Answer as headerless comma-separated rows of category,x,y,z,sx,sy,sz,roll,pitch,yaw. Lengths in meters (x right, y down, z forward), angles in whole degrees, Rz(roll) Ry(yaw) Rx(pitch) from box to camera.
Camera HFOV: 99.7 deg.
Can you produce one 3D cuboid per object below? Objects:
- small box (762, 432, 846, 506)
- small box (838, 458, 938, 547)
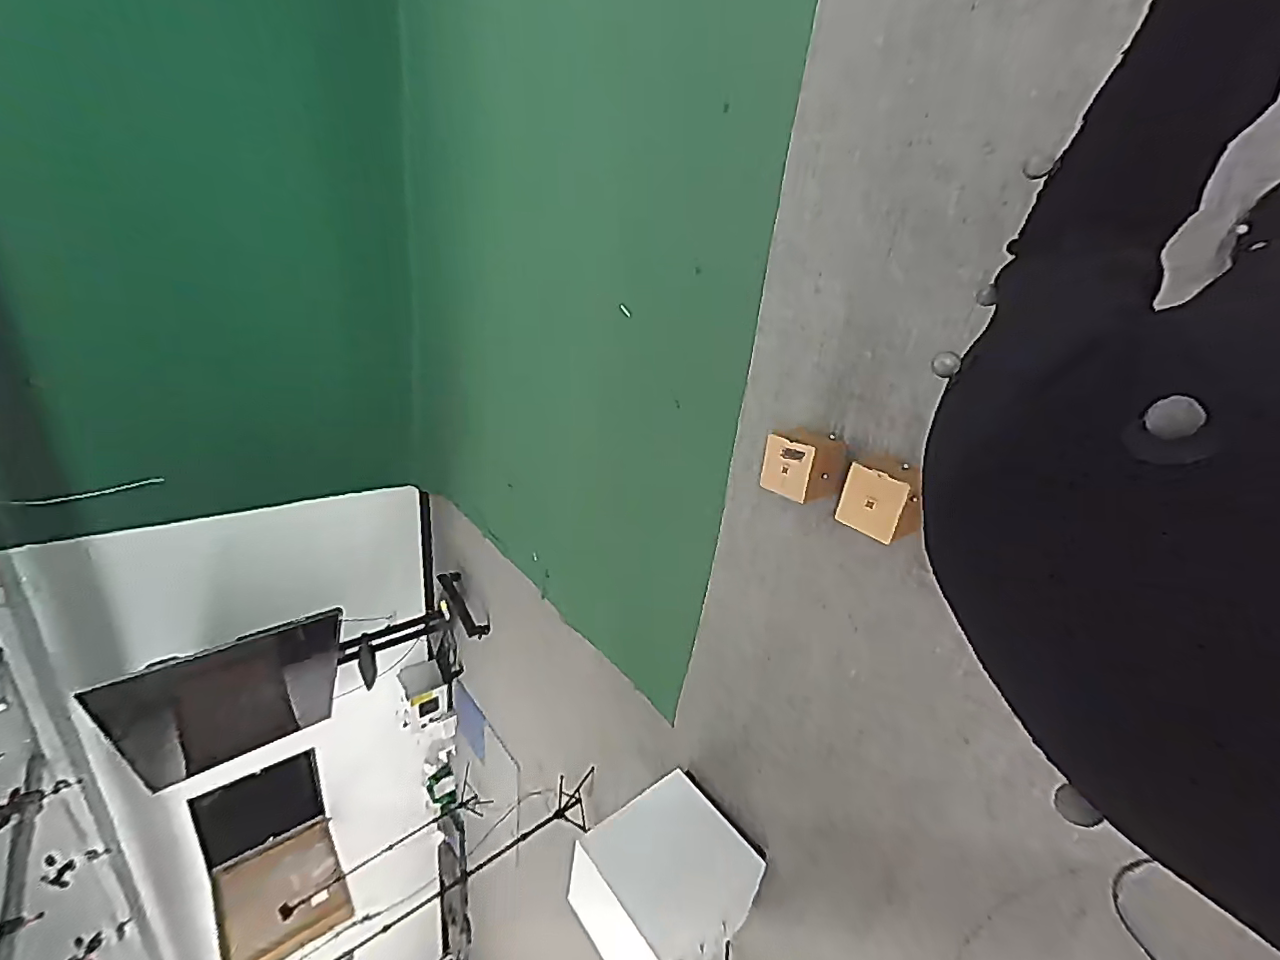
small box,0.502,-0.042,1.645,0.168,0.176,0.179,27,119,44
small box,0.672,0.054,1.460,0.168,0.176,0.179,31,121,43
